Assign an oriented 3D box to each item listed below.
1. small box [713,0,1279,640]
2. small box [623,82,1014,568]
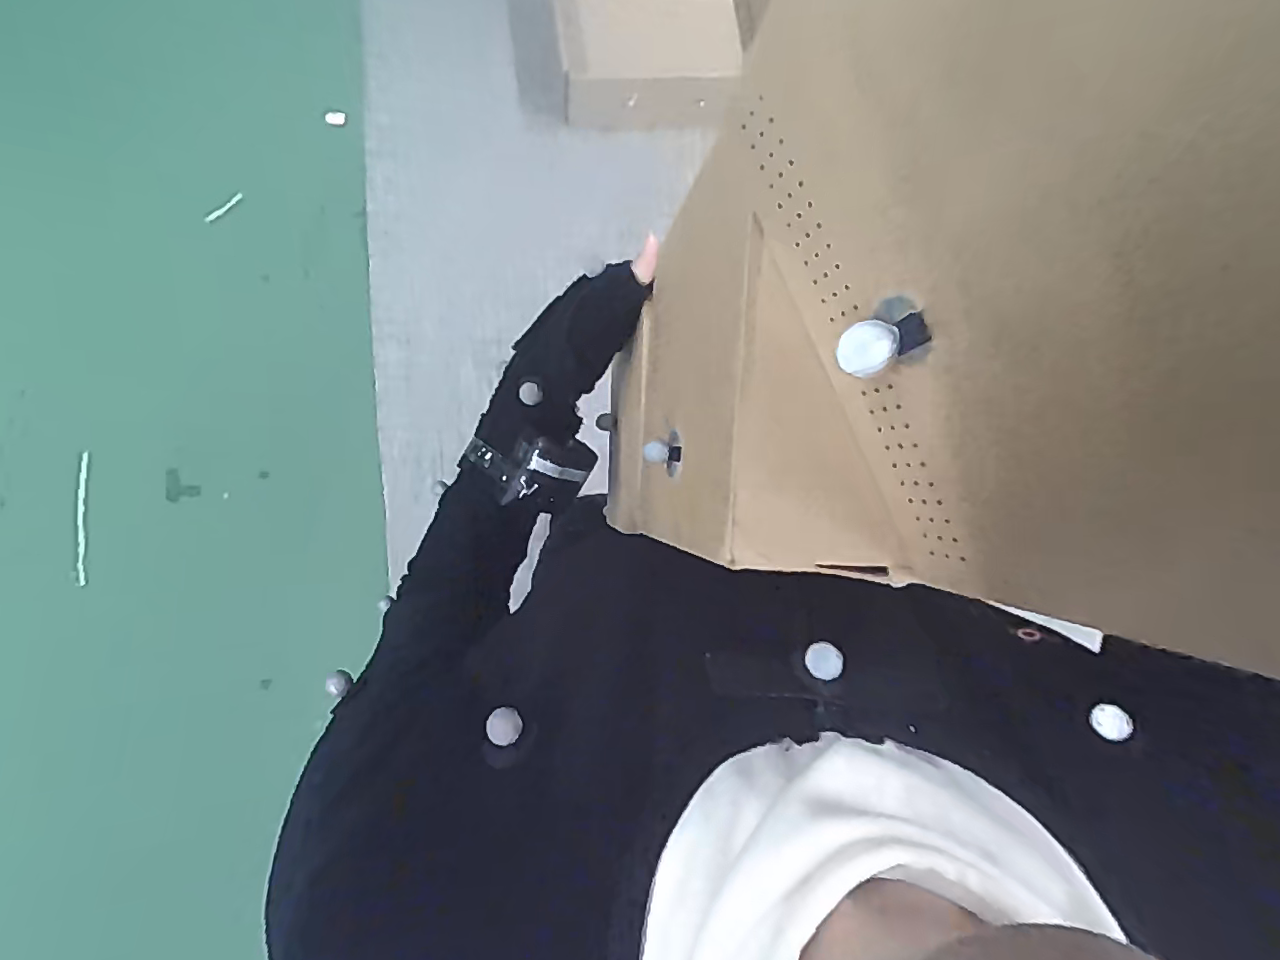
[{"bbox_3d":[0.141,-0.081,0.120,0.168,0.176,0.179,-25,96,-11],"label":"small box"},{"bbox_3d":[0.088,-0.057,0.276,0.168,0.176,0.179,5,87,-12],"label":"small box"}]
